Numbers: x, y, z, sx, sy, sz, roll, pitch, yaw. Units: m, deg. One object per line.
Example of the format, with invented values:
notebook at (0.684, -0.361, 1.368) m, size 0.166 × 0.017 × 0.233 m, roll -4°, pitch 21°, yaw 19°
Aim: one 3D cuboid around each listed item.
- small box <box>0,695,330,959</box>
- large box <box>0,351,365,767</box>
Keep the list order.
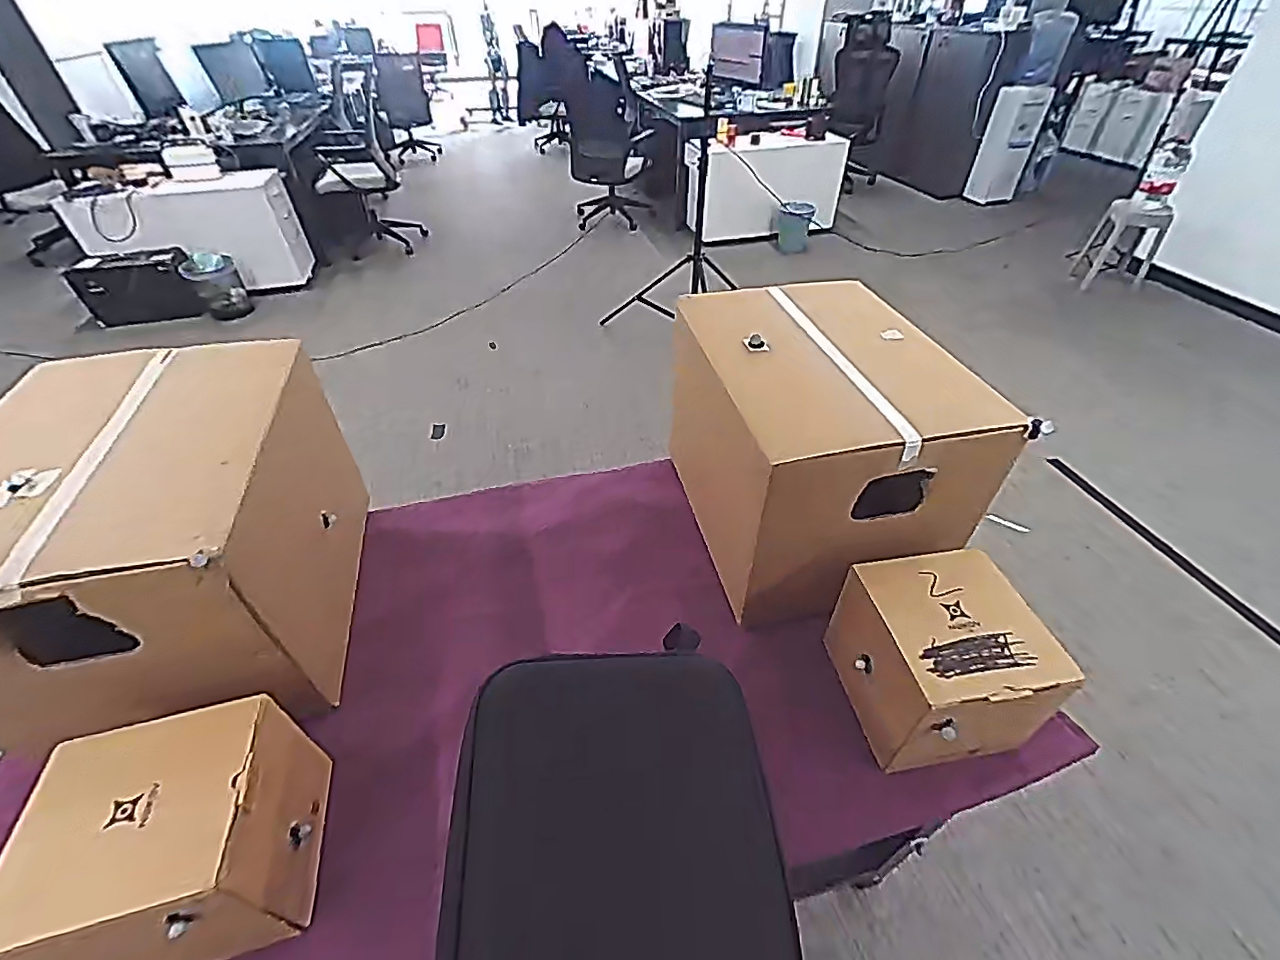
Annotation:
small box at (-0.427, 0.340, 0.510) m, size 0.179 × 0.176 × 0.168 m, roll -12°, pitch 42°, yaw -13°
large box at (-0.571, 0.081, 0.694) m, size 0.320 × 0.320 × 0.408 m, roll -10°, pitch 45°, yaw -12°
